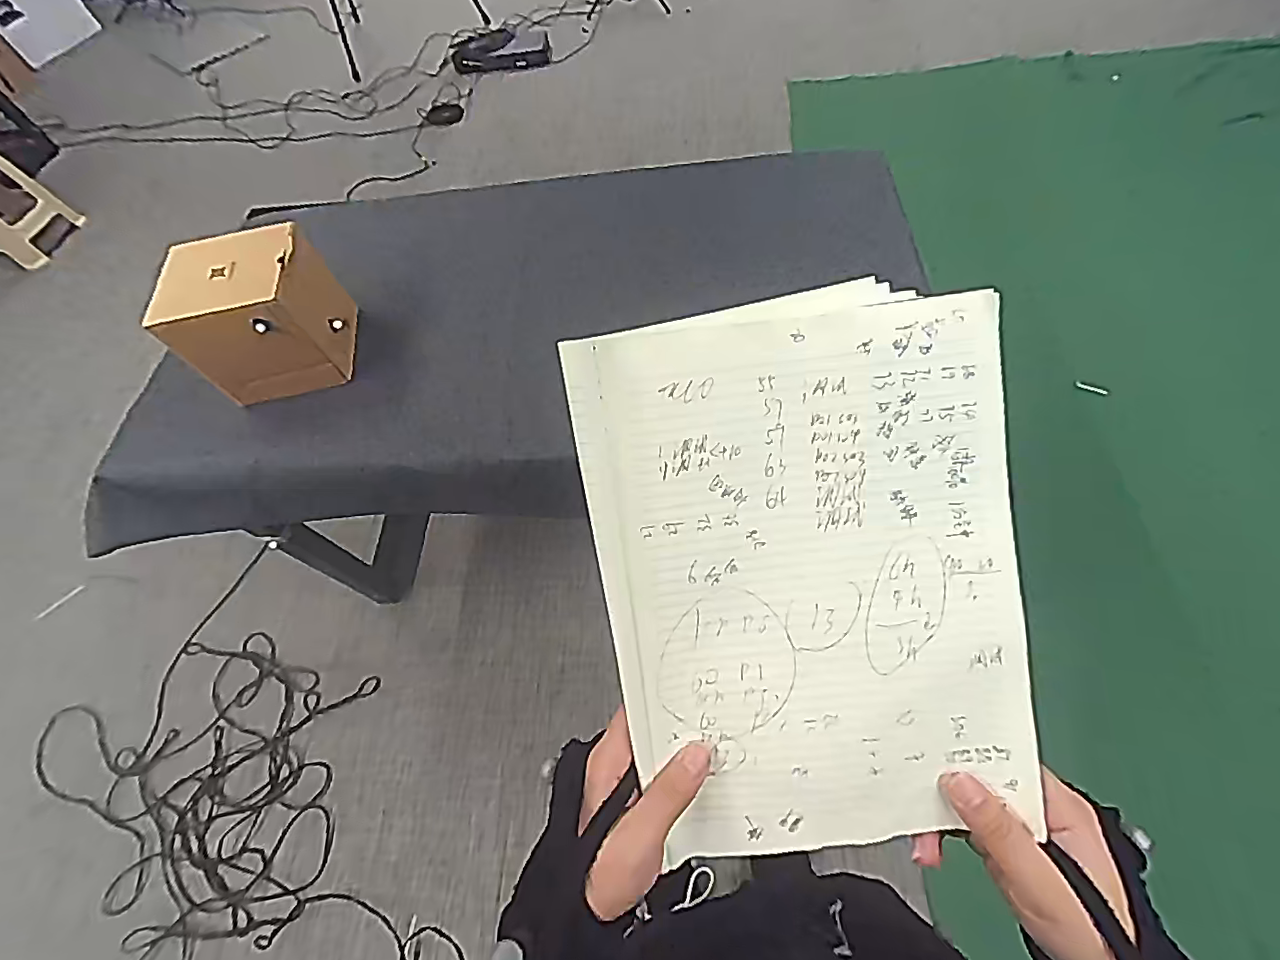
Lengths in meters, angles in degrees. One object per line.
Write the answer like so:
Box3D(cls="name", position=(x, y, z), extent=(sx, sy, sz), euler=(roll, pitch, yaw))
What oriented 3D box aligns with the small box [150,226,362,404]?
Box3D(cls="small box", position=(-0.543, -0.234, 0.794), extent=(0.179, 0.176, 0.168), euler=(-13, 59, -1))
